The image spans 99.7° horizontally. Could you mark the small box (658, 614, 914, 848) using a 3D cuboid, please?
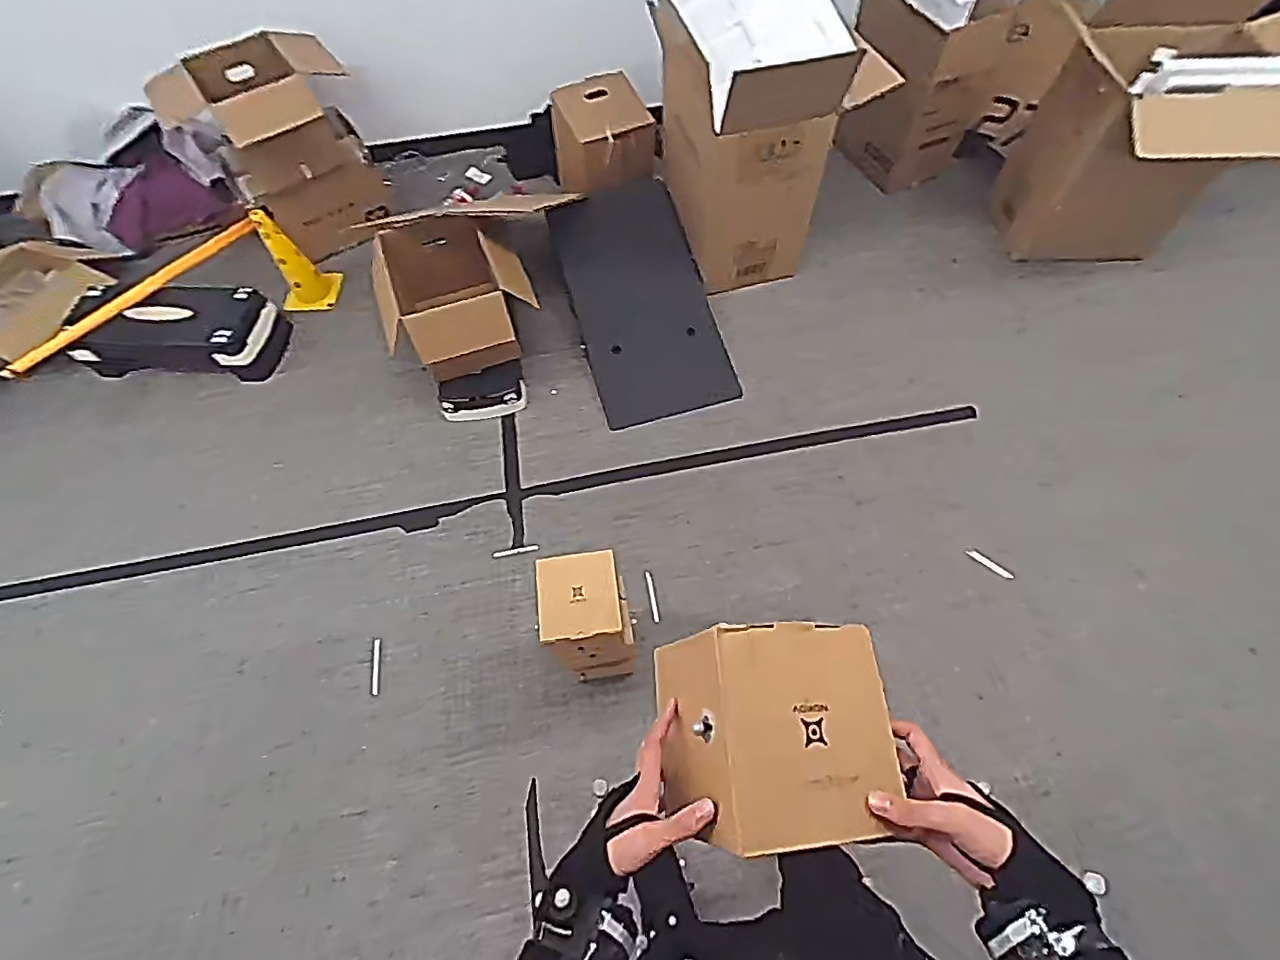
[{"bbox_3d":[0.123,0.237,0.531,0.168,0.176,0.179,5,65,-18],"label":"small box"}]

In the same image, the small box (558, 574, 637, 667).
[{"bbox_3d":[-0.107,0.344,1.310,0.179,0.176,0.168,-9,63,-4],"label":"small box"}]

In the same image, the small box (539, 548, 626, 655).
[{"bbox_3d":[-0.121,0.265,1.168,0.168,0.176,0.179,-8,63,-3],"label":"small box"}]
